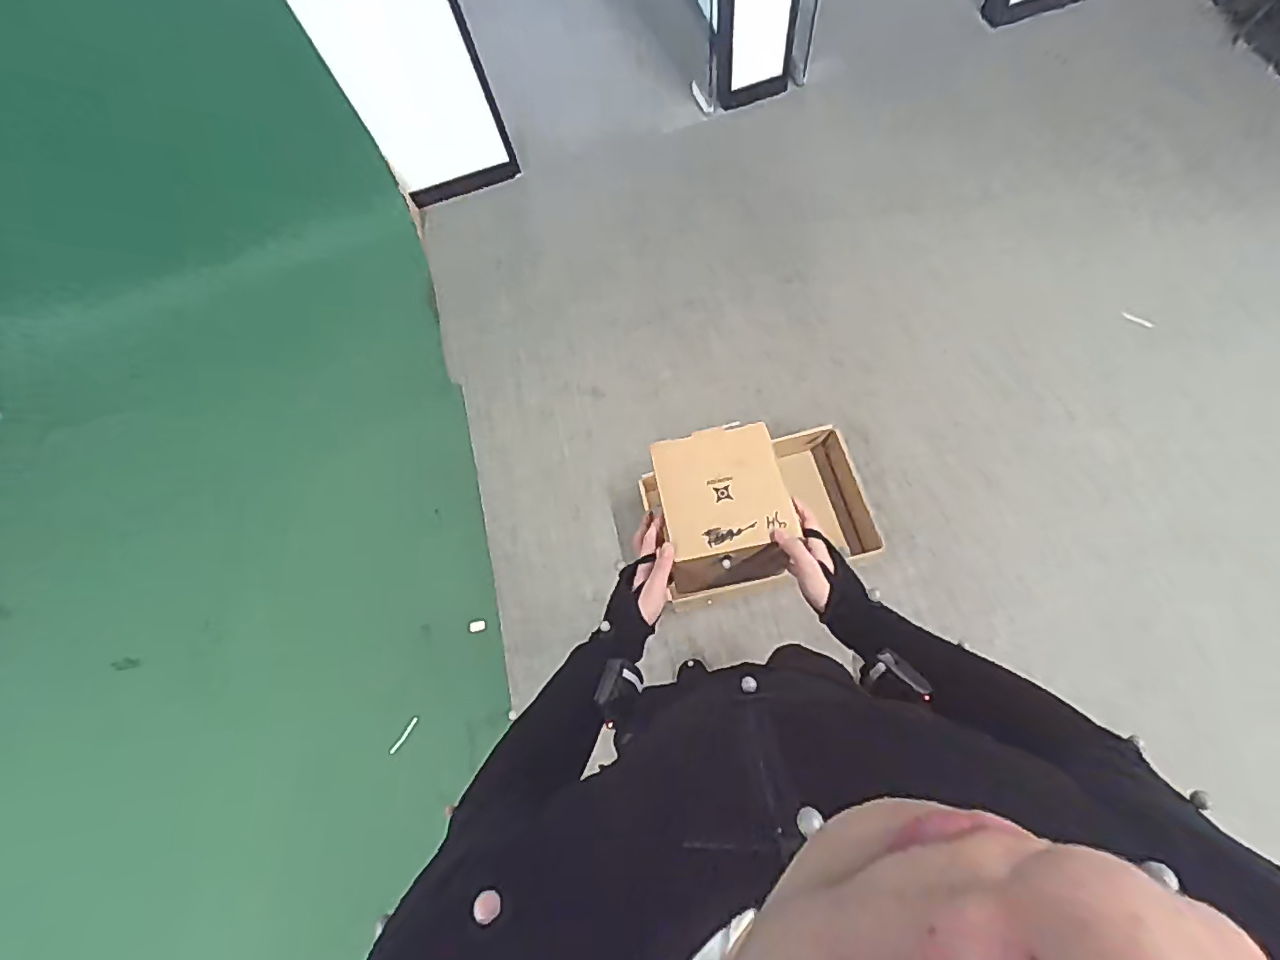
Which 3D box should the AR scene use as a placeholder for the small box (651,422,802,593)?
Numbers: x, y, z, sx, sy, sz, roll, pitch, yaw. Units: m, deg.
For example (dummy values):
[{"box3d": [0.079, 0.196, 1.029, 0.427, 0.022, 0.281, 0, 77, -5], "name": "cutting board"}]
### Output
[{"box3d": [0.112, 0.045, 0.774, 0.168, 0.176, 0.179, -11, 64, -1], "name": "small box"}]
